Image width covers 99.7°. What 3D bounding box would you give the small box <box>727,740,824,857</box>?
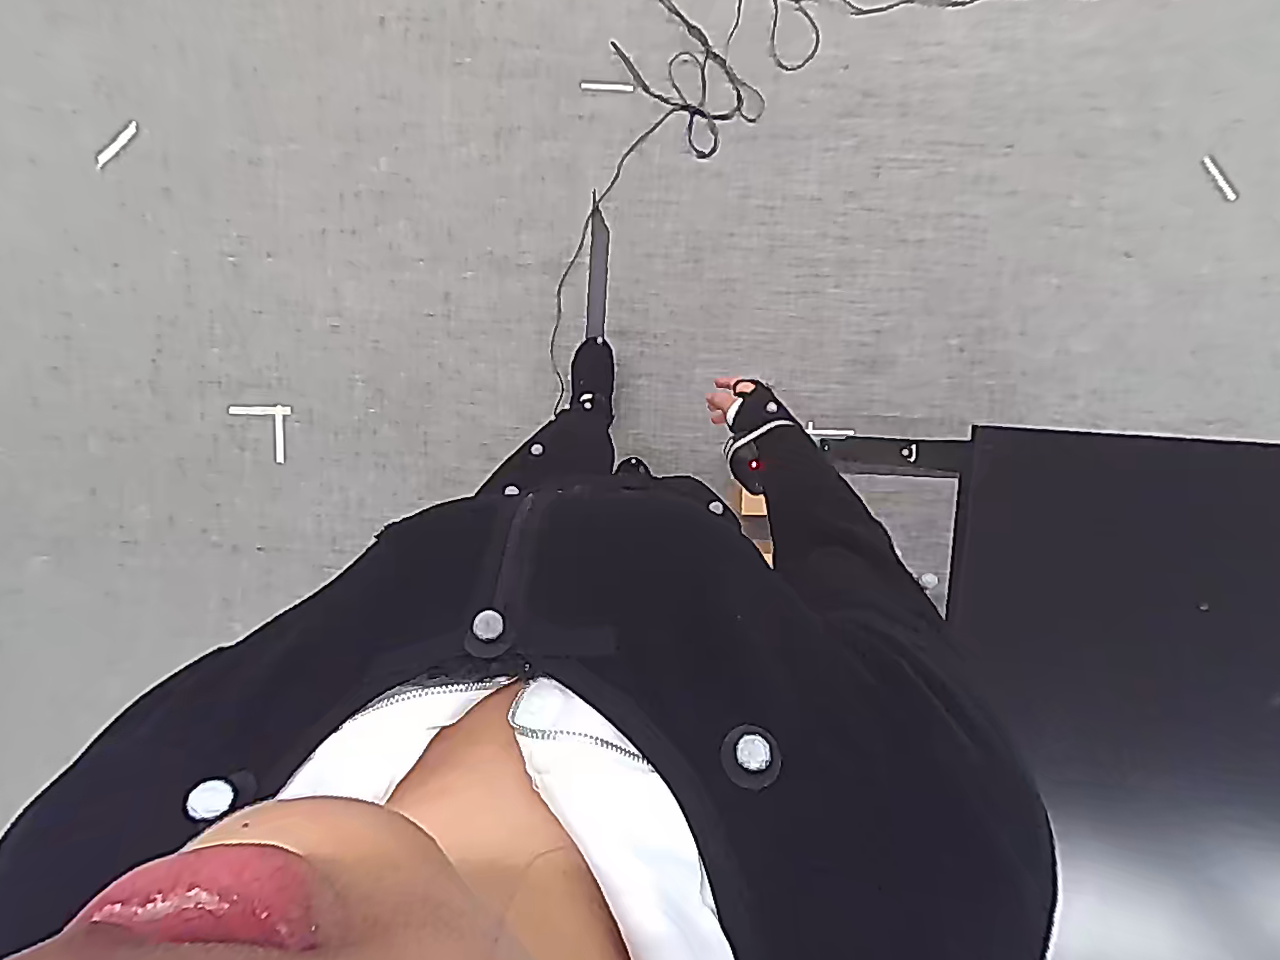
[{"bbox_3d":[0.359,0.851,1.465,0.168,0.176,0.179,-43,92,3],"label":"small box"}]
